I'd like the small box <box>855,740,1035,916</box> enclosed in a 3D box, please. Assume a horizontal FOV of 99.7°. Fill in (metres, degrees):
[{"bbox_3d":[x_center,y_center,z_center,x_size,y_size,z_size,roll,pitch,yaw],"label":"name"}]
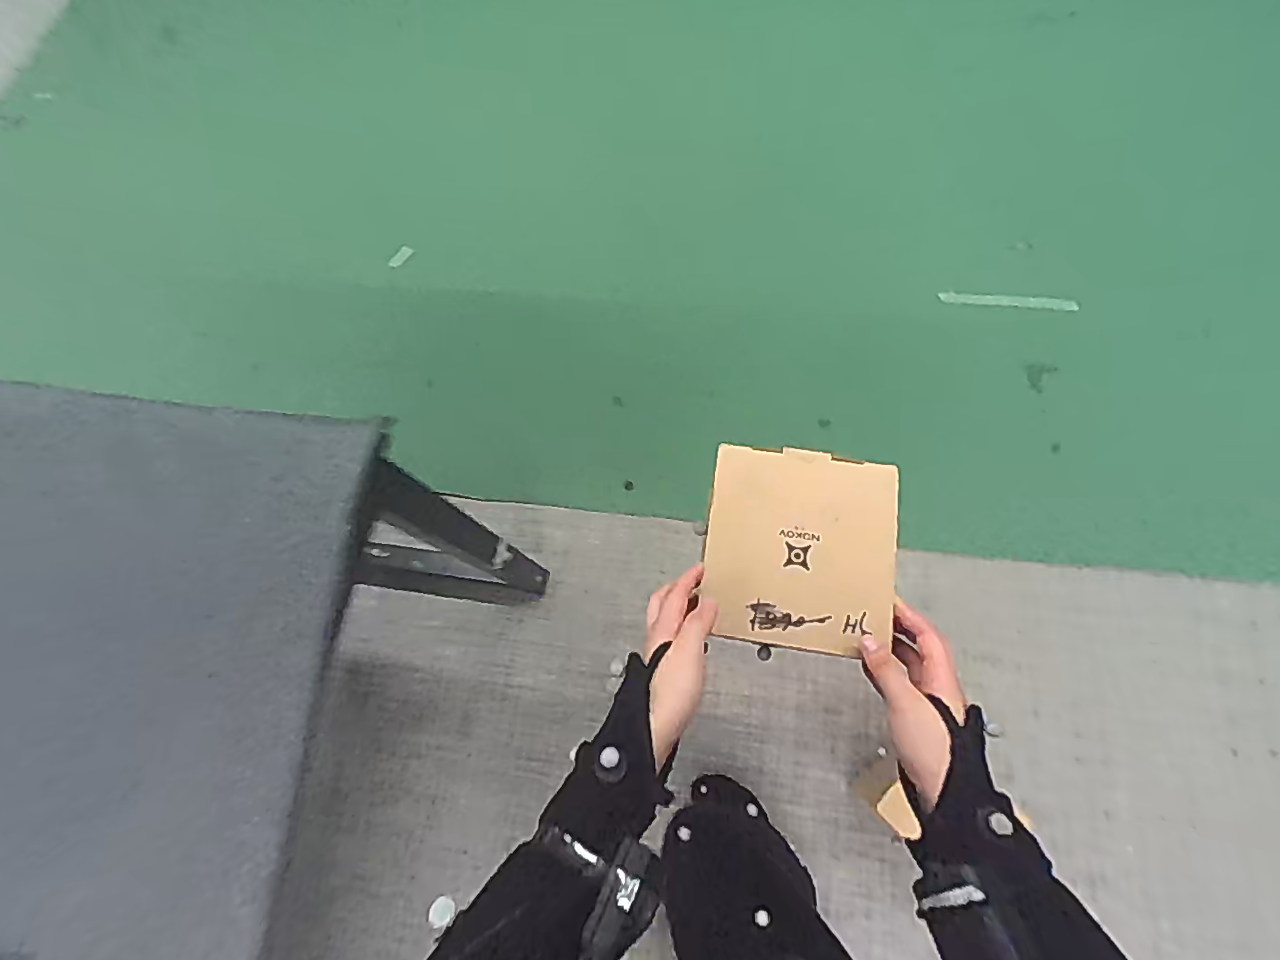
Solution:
[{"bbox_3d":[0.505,0.573,0.924,0.168,0.176,0.179,-42,71,-10],"label":"small box"}]
